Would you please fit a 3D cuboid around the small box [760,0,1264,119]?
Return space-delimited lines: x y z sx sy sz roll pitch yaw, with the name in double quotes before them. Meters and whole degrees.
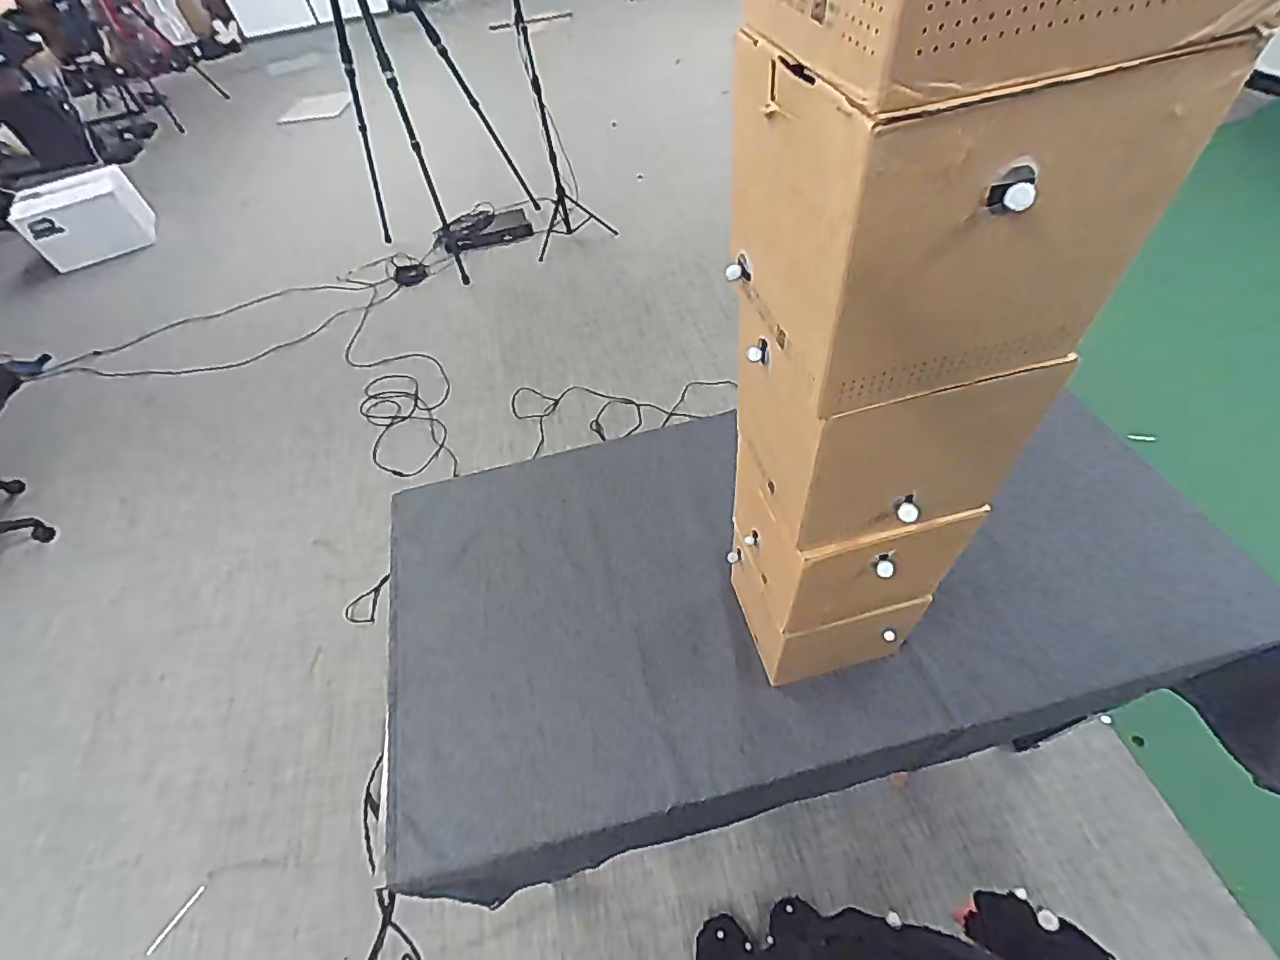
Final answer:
"small box" 0.149 -0.268 0.209 0.179 0.176 0.168 -13 52 -1

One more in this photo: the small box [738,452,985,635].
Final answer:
"small box" 0.214 0.044 0.583 0.179 0.176 0.168 -15 51 -3

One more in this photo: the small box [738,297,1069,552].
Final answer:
"small box" 0.191 -0.062 0.461 0.179 0.176 0.168 -13 50 -2

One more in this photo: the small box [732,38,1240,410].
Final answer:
"small box" 0.165 -0.166 0.336 0.179 0.176 0.168 -14 51 -3
